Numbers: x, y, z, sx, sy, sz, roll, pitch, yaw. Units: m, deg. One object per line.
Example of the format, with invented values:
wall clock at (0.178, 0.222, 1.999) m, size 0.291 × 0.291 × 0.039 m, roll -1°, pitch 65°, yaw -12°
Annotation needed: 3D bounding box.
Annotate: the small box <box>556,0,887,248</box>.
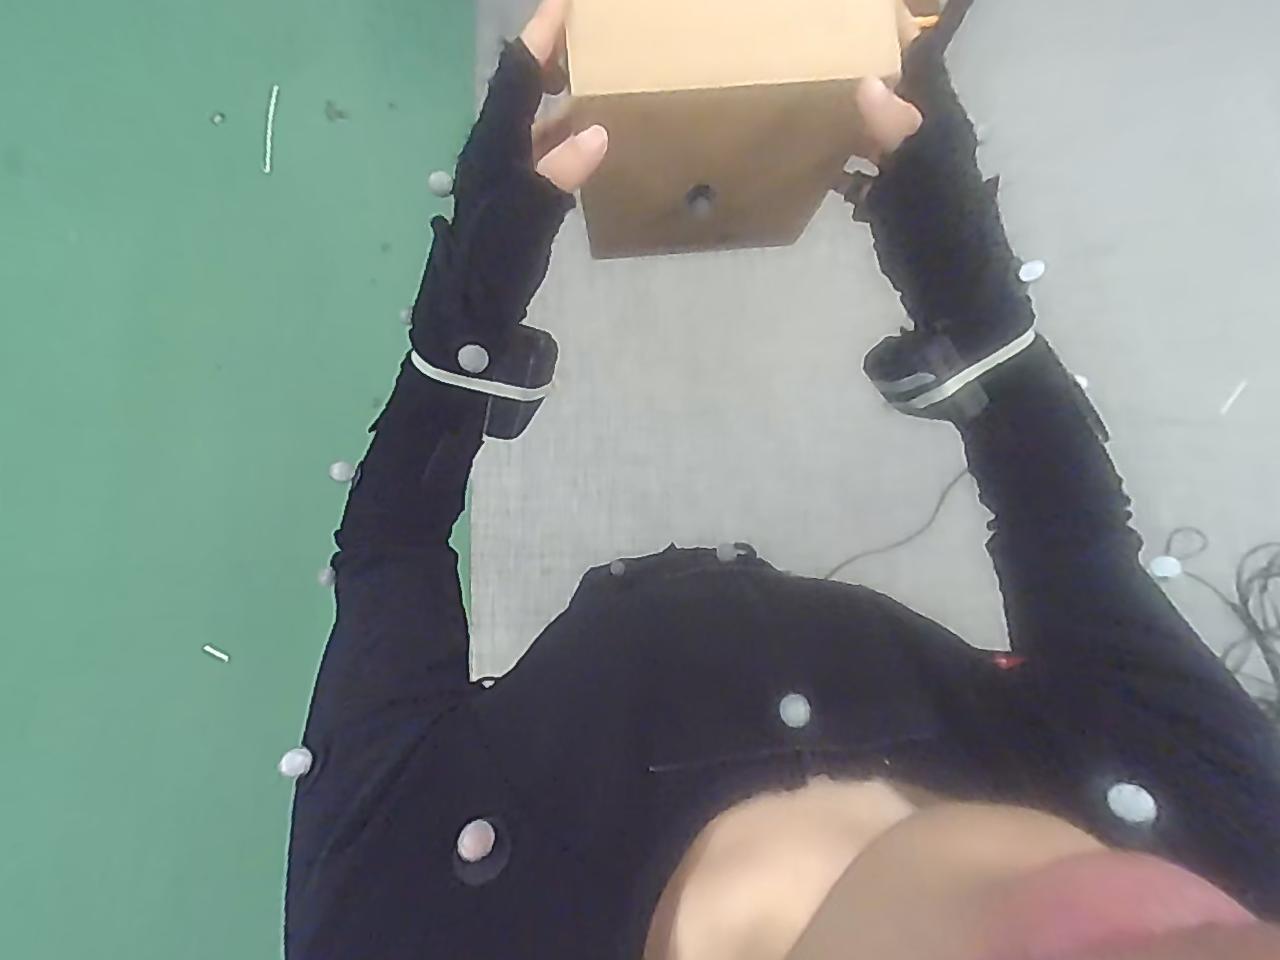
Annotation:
small box at (0.036, -0.270, 0.354) m, size 0.168 × 0.176 × 0.179 m, roll -5°, pitch 85°, yaw -2°
